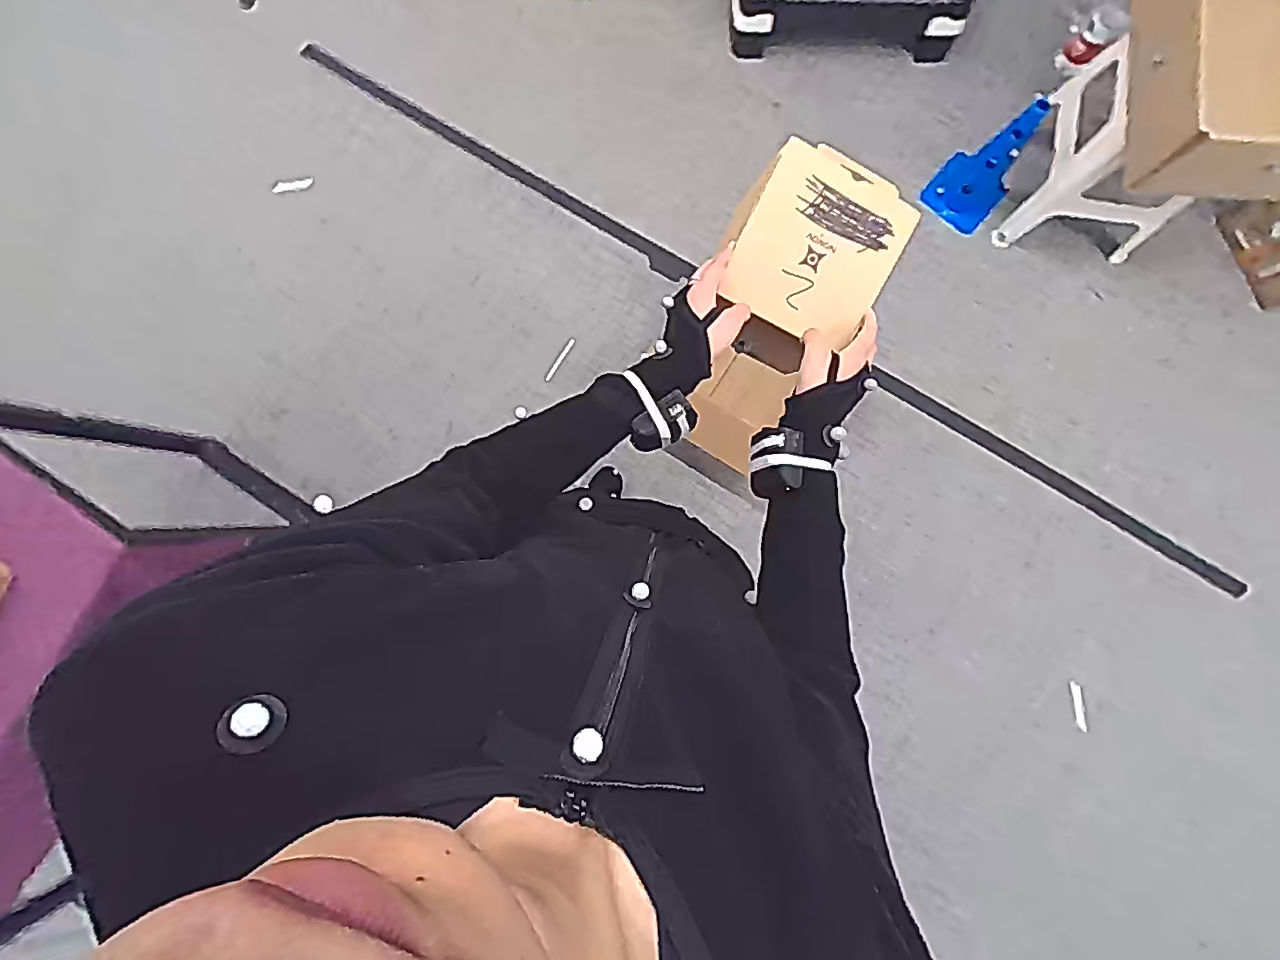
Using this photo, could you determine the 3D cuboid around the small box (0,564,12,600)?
[{"bbox_3d":[-1.233,0.195,0.896,0.179,0.176,0.168,26,88,5],"label":"small box"}]
